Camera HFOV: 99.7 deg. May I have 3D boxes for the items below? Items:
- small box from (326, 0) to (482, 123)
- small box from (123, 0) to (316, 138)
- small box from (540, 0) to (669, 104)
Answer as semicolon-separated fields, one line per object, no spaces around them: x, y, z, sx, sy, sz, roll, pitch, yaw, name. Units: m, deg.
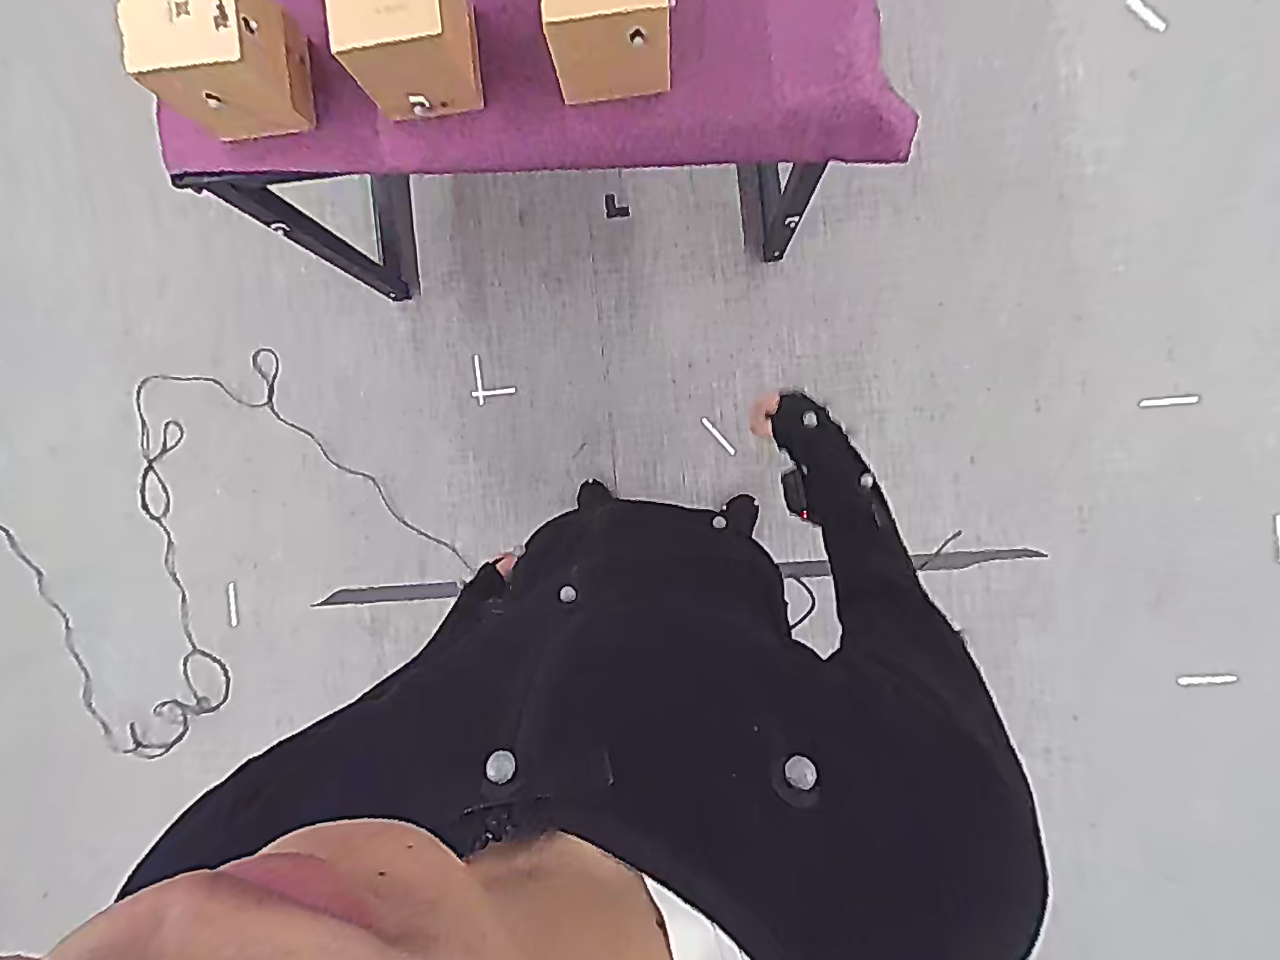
-0.357;-0.698;0.836;0.168;0.176;0.179;-5;93;4;small box
-0.652;-0.672;0.853;0.179;0.176;0.168;-4;92;4;small box
-0.050;-0.708;0.813;0.179;0.176;0.168;-5;90;4;small box
